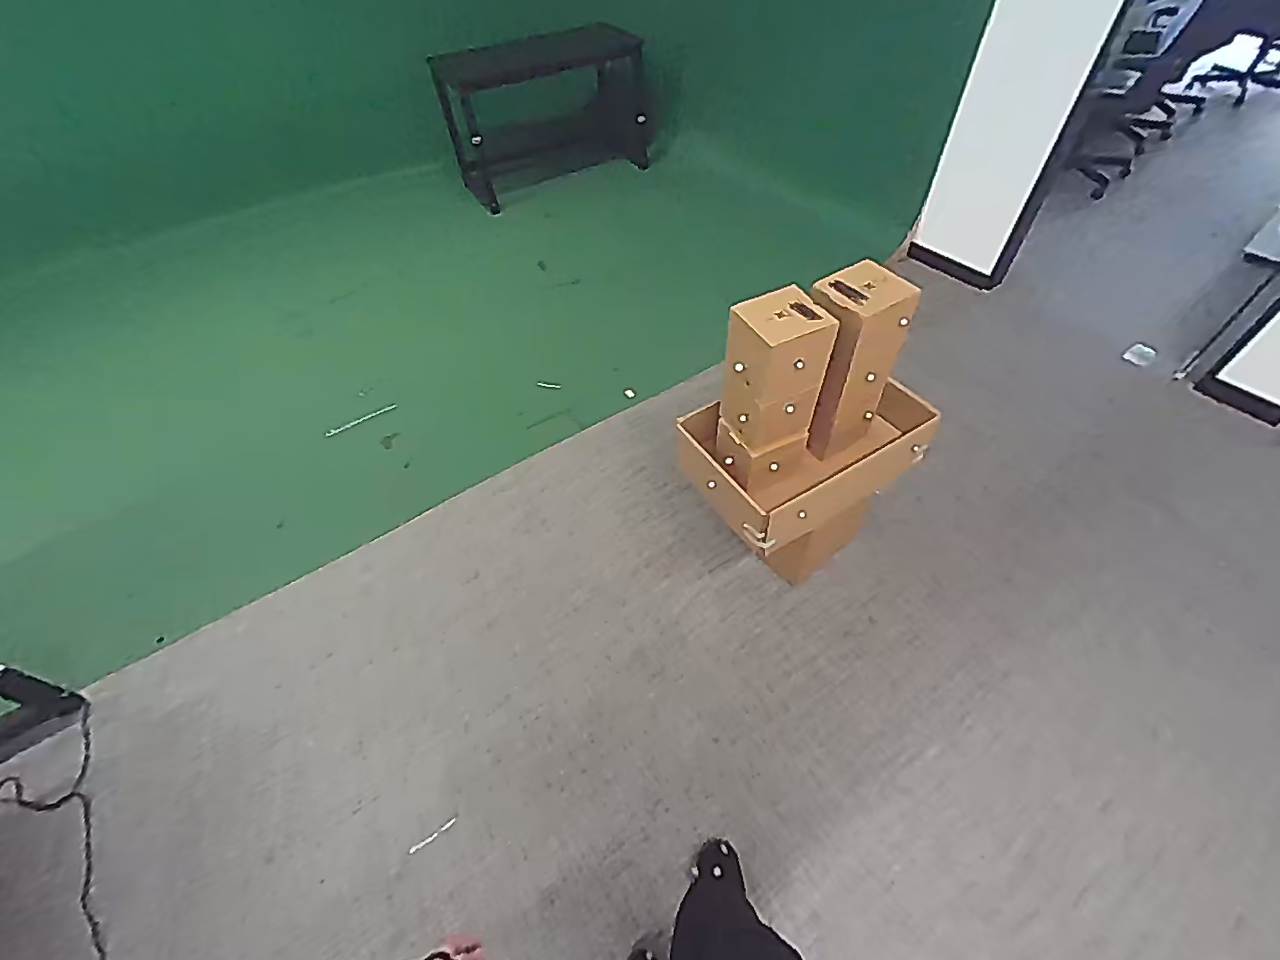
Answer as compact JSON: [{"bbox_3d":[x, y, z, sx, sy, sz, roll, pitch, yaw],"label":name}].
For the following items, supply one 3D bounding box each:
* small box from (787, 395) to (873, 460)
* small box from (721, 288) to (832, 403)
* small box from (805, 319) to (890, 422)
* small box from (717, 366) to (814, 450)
[{"bbox_3d":[0.530,-0.190,1.561,0.179,0.176,0.168,-29,55,-16],"label":"small box"},{"bbox_3d":[0.304,-0.307,1.245,0.179,0.176,0.168,-22,54,-14],"label":"small box"},{"bbox_3d":[0.517,-0.289,1.433,0.179,0.176,0.168,-30,56,-16],"label":"small box"},{"bbox_3d":[0.308,-0.203,1.372,0.179,0.176,0.168,-21,54,-15],"label":"small box"}]
